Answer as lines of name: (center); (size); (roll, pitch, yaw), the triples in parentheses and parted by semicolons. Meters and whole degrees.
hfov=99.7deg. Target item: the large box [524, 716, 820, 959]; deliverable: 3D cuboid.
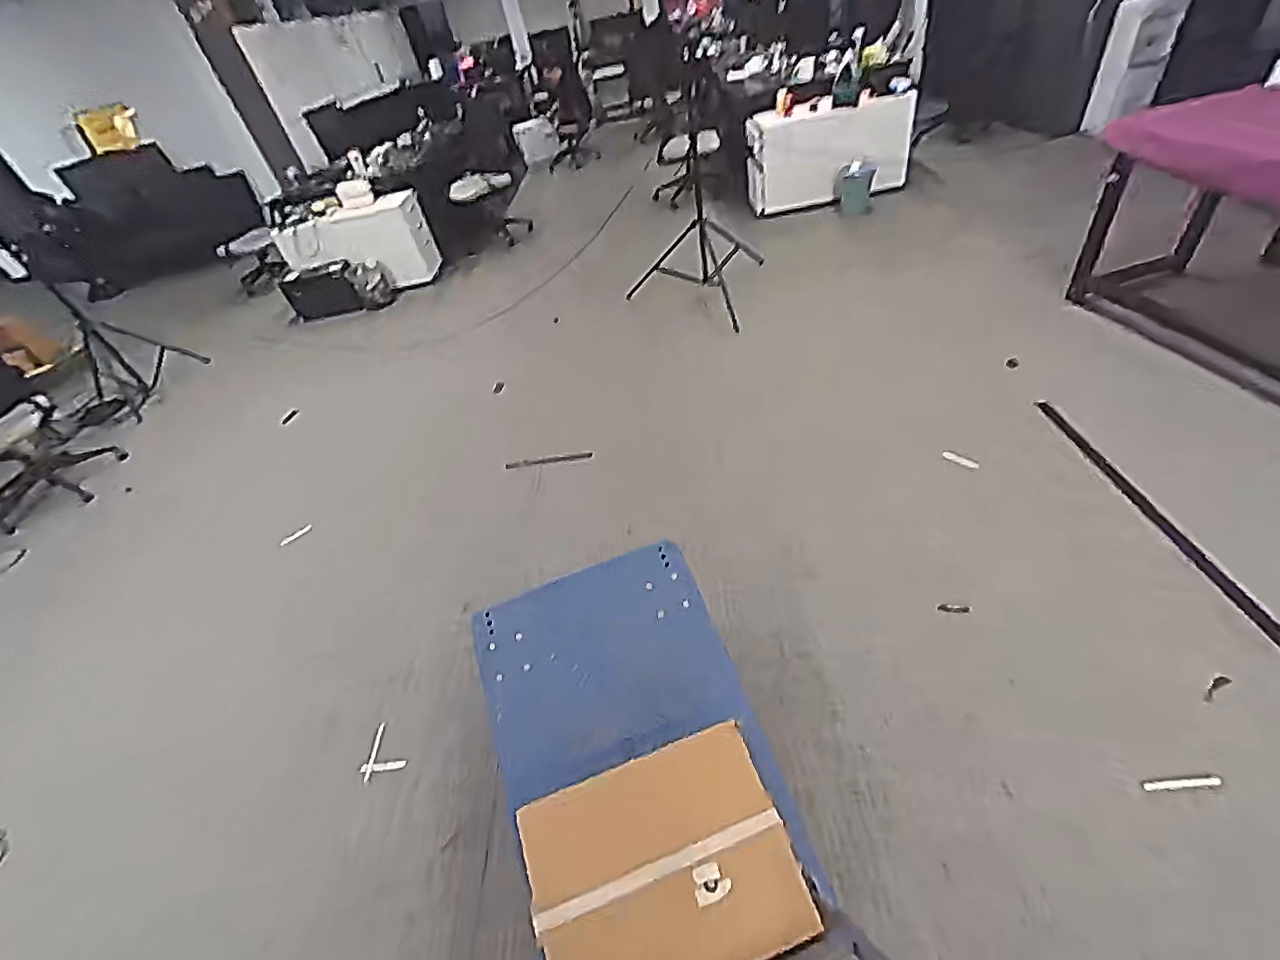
large box: (0.048, 0.690, 0.995); (0.408, 0.320, 0.320); (-20, 60, -7)
